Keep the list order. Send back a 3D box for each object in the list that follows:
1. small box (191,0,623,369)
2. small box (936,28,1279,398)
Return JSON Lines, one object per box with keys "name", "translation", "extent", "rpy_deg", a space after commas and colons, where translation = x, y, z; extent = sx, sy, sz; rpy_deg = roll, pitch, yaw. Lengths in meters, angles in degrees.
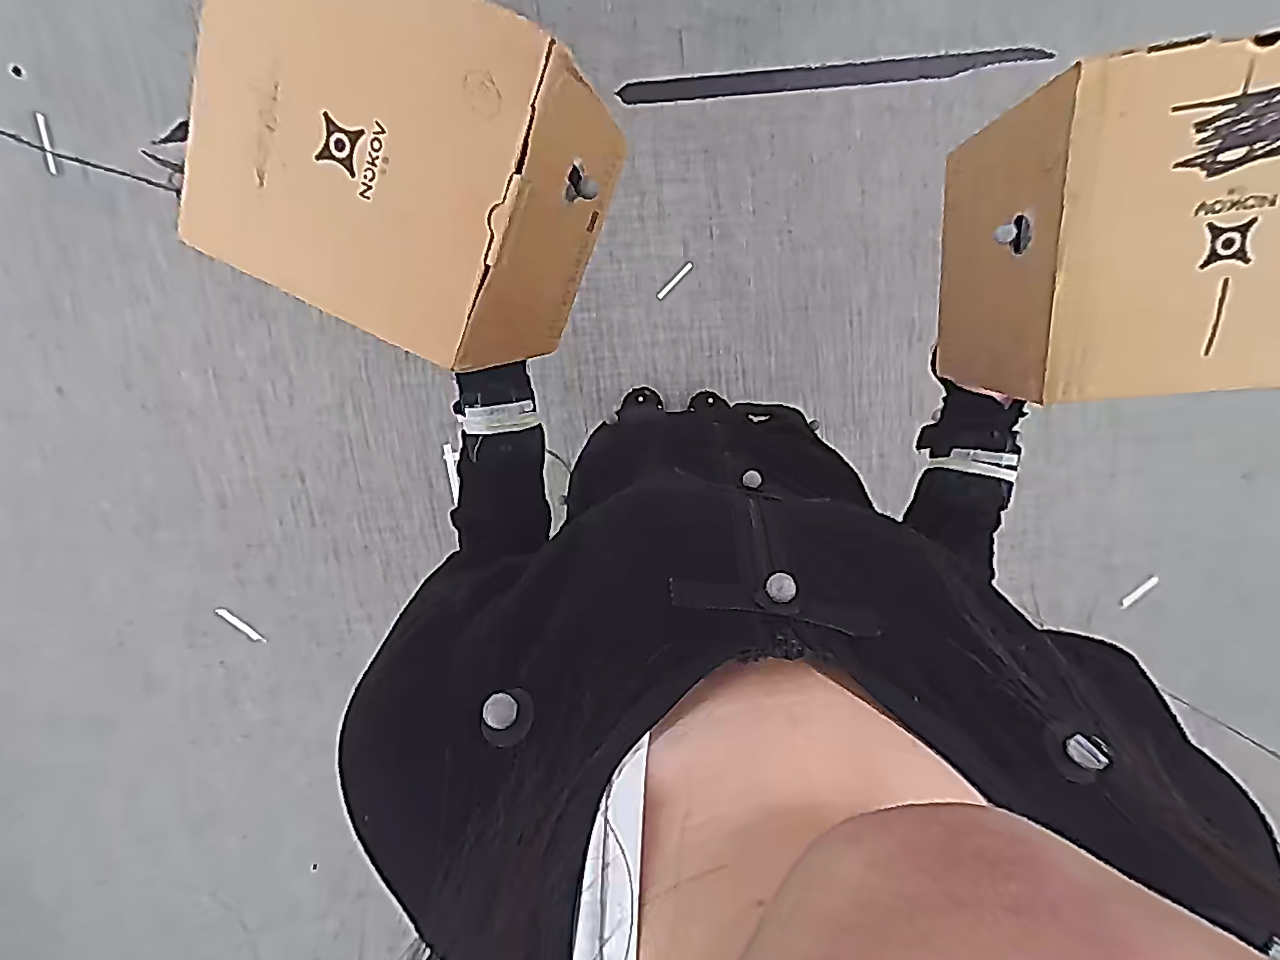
{"name": "small box", "translation": [-0.128, -0.189, 0.348], "extent": [0.179, 0.176, 0.168], "rpy_deg": [26, 109, 3]}
{"name": "small box", "translation": [0.317, -0.158, 0.361], "extent": [0.168, 0.176, 0.179], "rpy_deg": [-3, 107, 9]}
